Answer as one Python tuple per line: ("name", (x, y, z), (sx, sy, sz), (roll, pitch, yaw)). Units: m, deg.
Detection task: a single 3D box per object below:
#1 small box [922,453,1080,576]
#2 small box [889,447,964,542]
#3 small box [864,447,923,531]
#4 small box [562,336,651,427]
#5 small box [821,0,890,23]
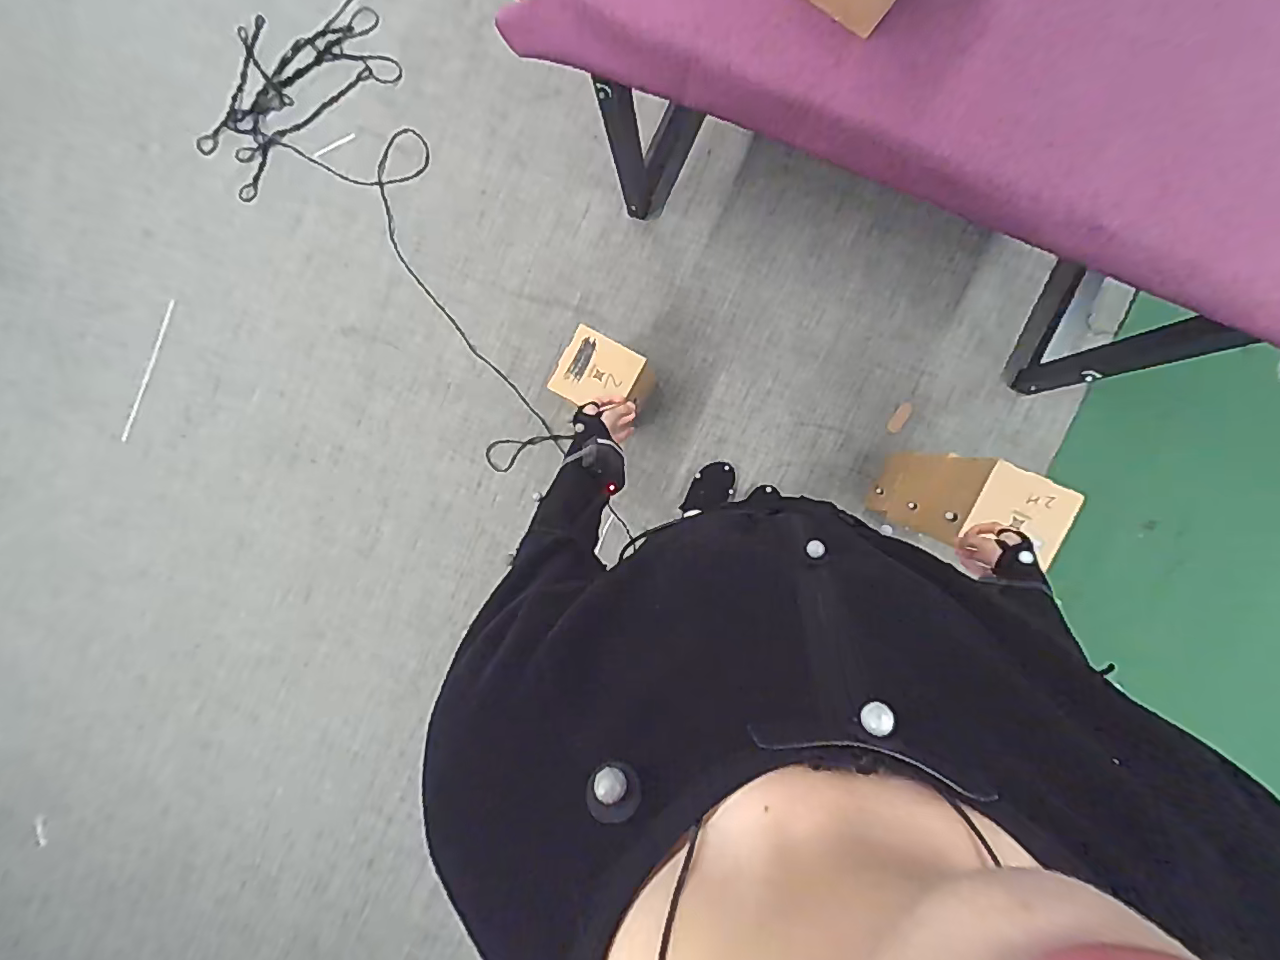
("small box", (0.684, 0.059, 1.052), (0.168, 0.176, 0.179), (25, 95, 4))
("small box", (0.692, 0.038, 1.217), (0.168, 0.176, 0.179), (24, 95, 4))
("small box", (0.704, 0.028, 1.378), (0.179, 0.176, 0.168), (27, 94, 4))
("small box", (-0.080, -0.254, 1.447), (0.168, 0.176, 0.179), (29, 95, 4))
("small box", (0.287, -0.734, 0.668), (0.179, 0.176, 0.168), (39, 95, 3))
